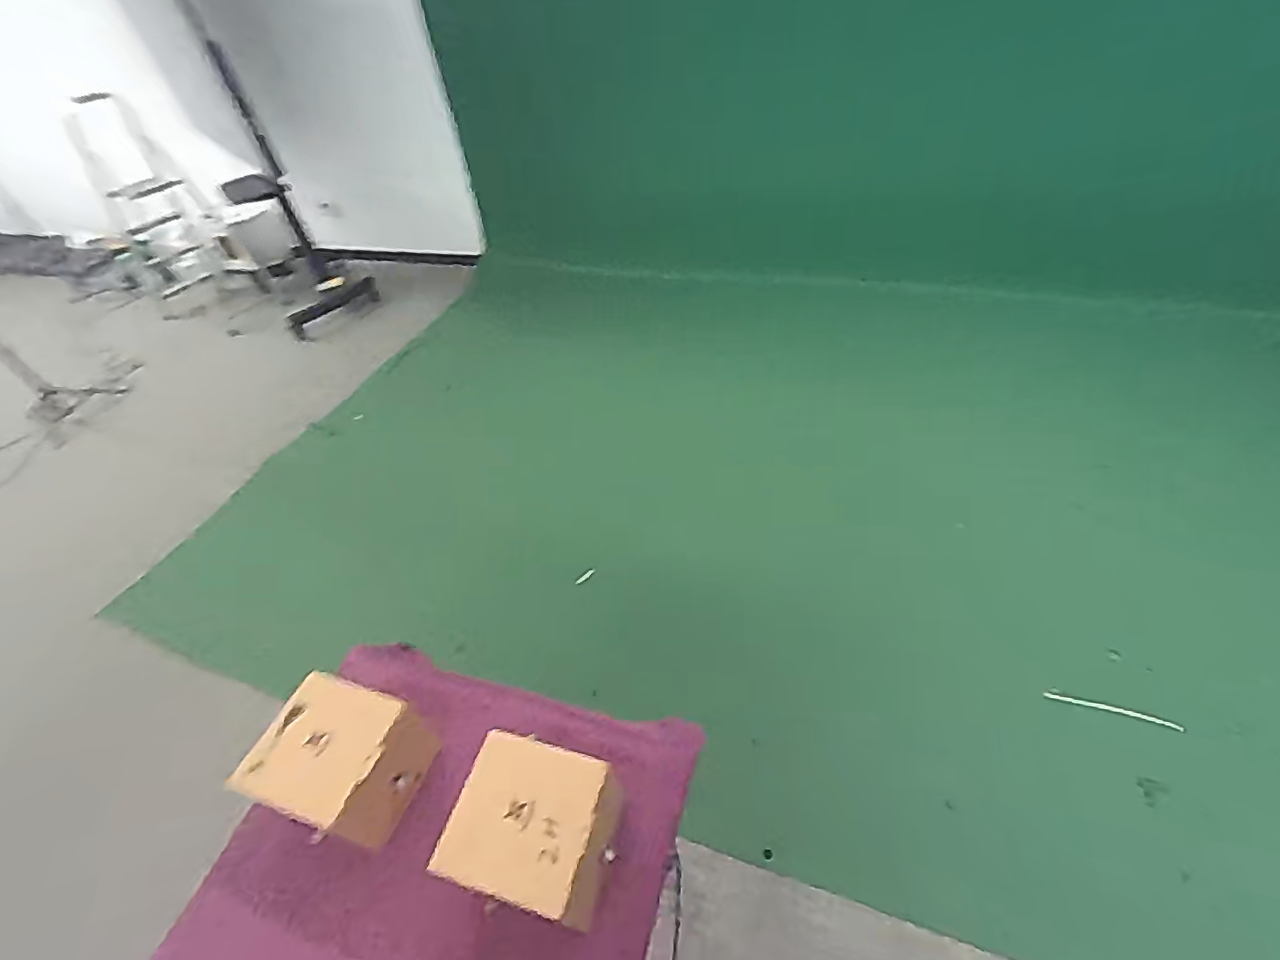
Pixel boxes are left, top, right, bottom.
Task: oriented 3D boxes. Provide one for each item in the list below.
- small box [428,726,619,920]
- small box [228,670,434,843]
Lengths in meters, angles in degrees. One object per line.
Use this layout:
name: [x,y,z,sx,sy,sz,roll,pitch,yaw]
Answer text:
small box: [-0.141,0.462,0.727,0.179,0.176,0.168,8,49,16]
small box: [-0.442,0.417,0.810,0.179,0.176,0.168,12,48,14]
